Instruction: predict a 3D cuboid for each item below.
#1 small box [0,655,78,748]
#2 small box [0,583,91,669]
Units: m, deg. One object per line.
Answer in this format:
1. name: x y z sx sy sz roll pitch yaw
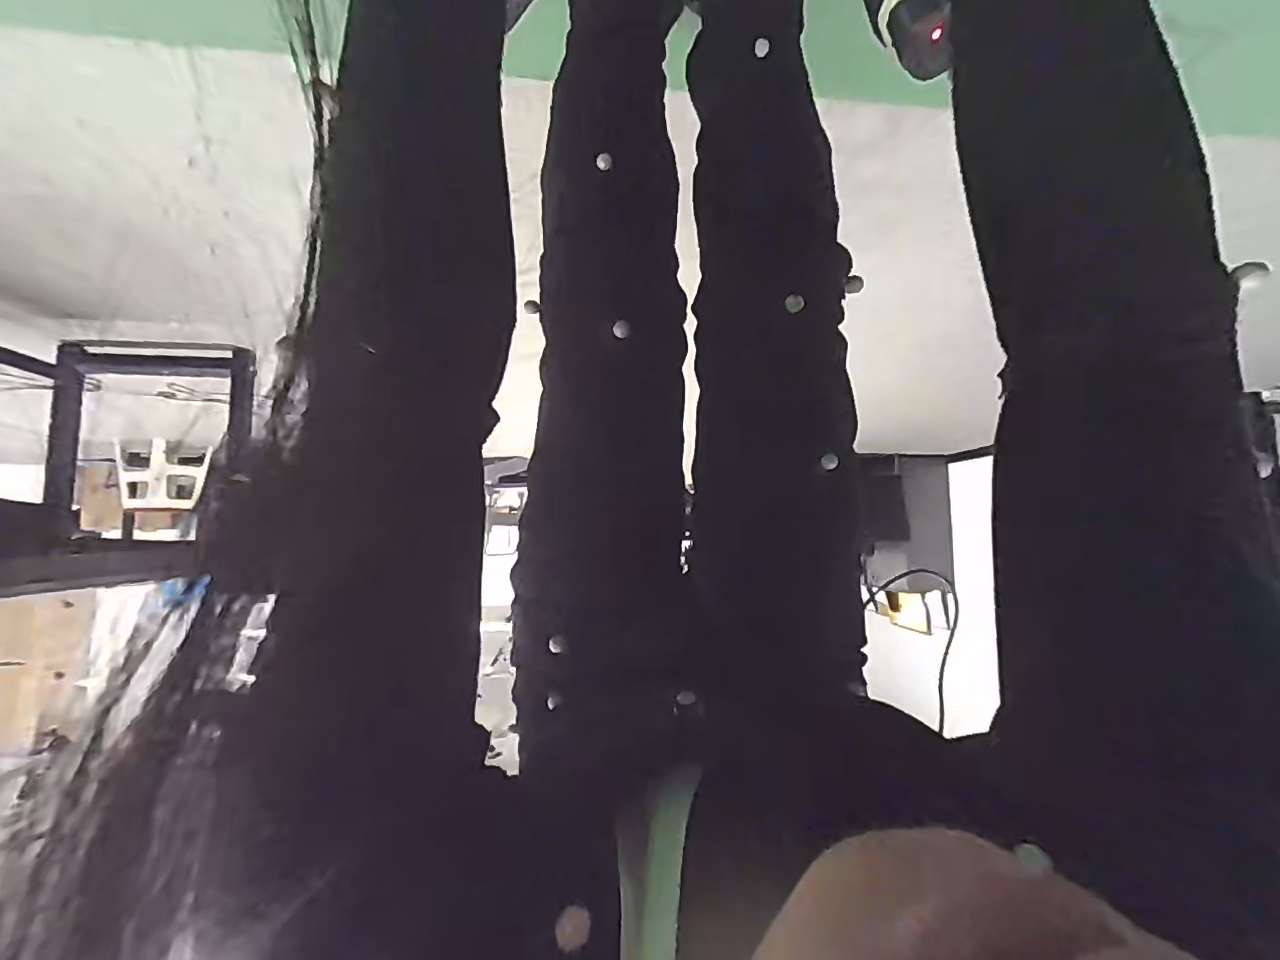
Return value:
1. small box: -1.415 0.483 1.199 0.179 0.176 0.168 1 173 -9
2. small box: -1.405 0.322 1.220 0.179 0.176 0.168 1 174 -8
